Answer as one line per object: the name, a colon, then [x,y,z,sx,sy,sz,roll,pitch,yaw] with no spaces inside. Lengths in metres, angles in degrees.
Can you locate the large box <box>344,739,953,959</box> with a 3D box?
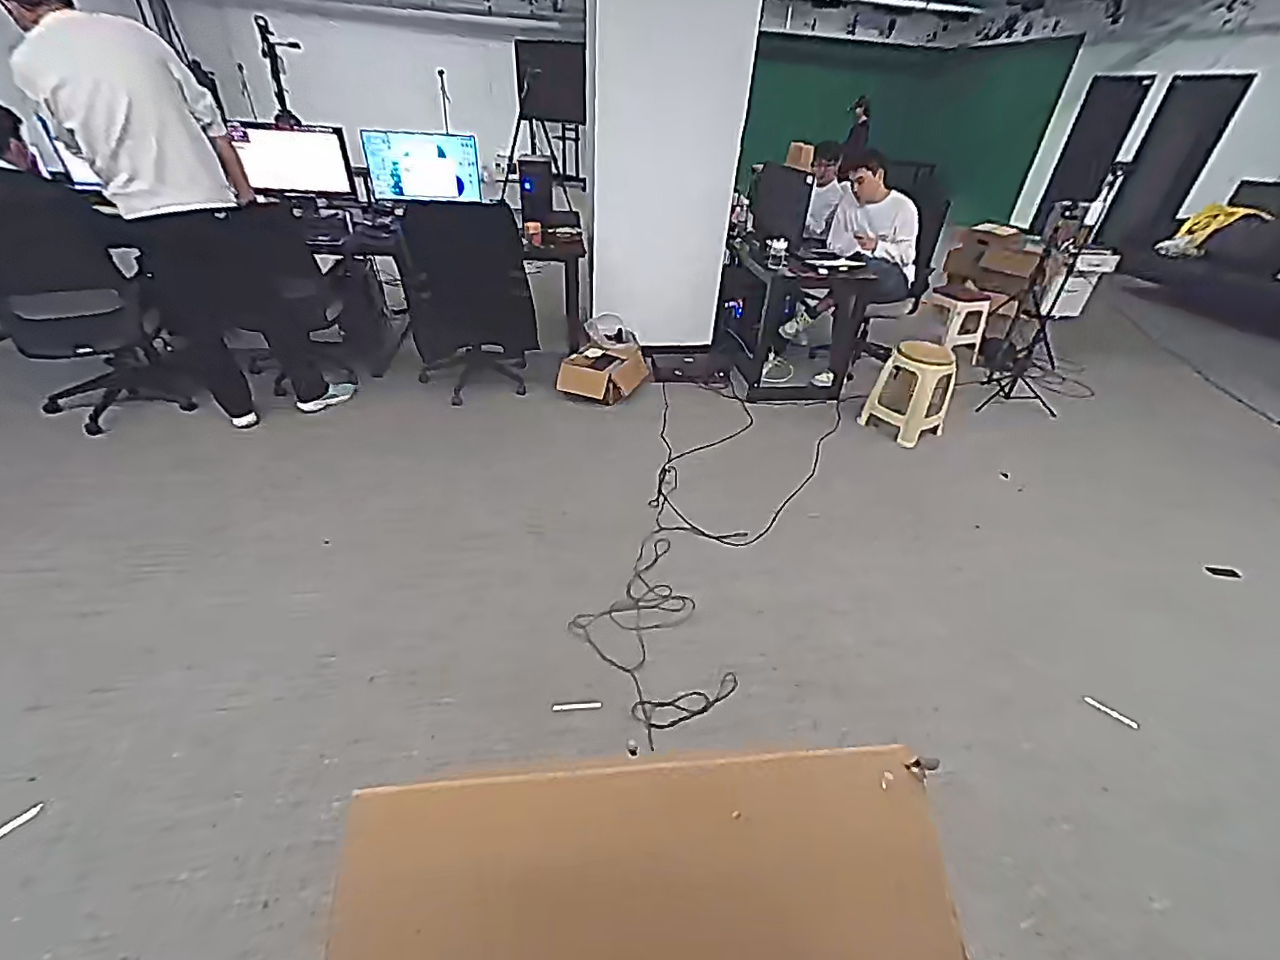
large box: [0.003,0.415,0.470,0.408,0.320,0.320,-3,66,-5]
